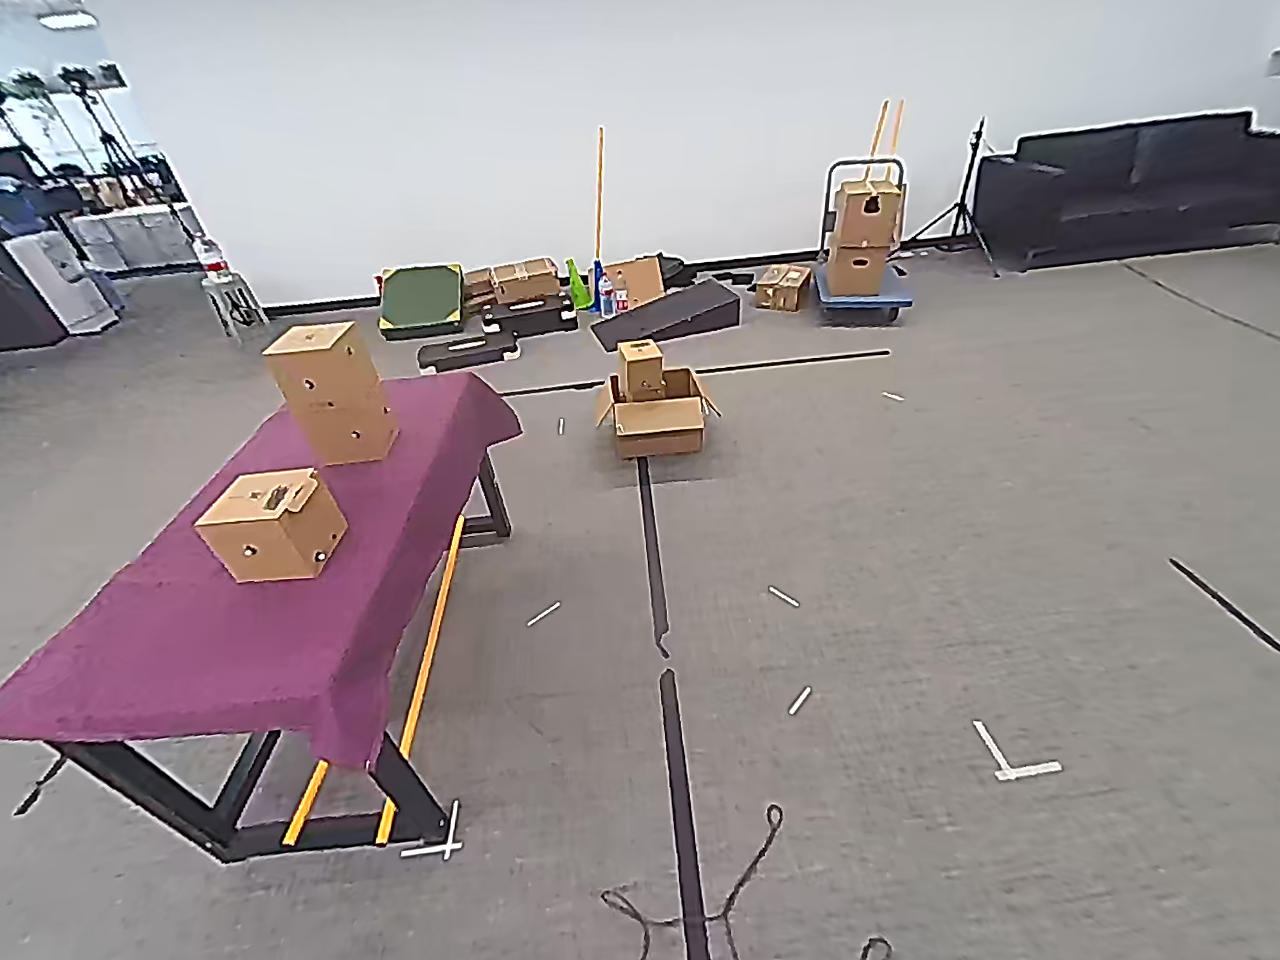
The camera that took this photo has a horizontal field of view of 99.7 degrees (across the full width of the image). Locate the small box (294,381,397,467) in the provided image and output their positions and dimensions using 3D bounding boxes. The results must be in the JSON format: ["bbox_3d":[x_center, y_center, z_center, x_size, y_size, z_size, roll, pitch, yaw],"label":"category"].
[{"bbox_3d":[-0.801,-0.154,1.494,0.179,0.176,0.168,-7,37,0],"label":"small box"}]

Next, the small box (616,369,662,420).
[{"bbox_3d":[-0.003,-0.411,2.610,0.179,0.176,0.168,-17,43,-19],"label":"small box"}]

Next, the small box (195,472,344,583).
[{"bbox_3d":[-0.775,0.103,1.158,0.179,0.176,0.168,-5,37,2],"label":"small box"}]

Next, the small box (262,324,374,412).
[{"bbox_3d":[-0.815,-0.284,1.394,0.168,0.176,0.179,-5,37,0],"label":"small box"}]
